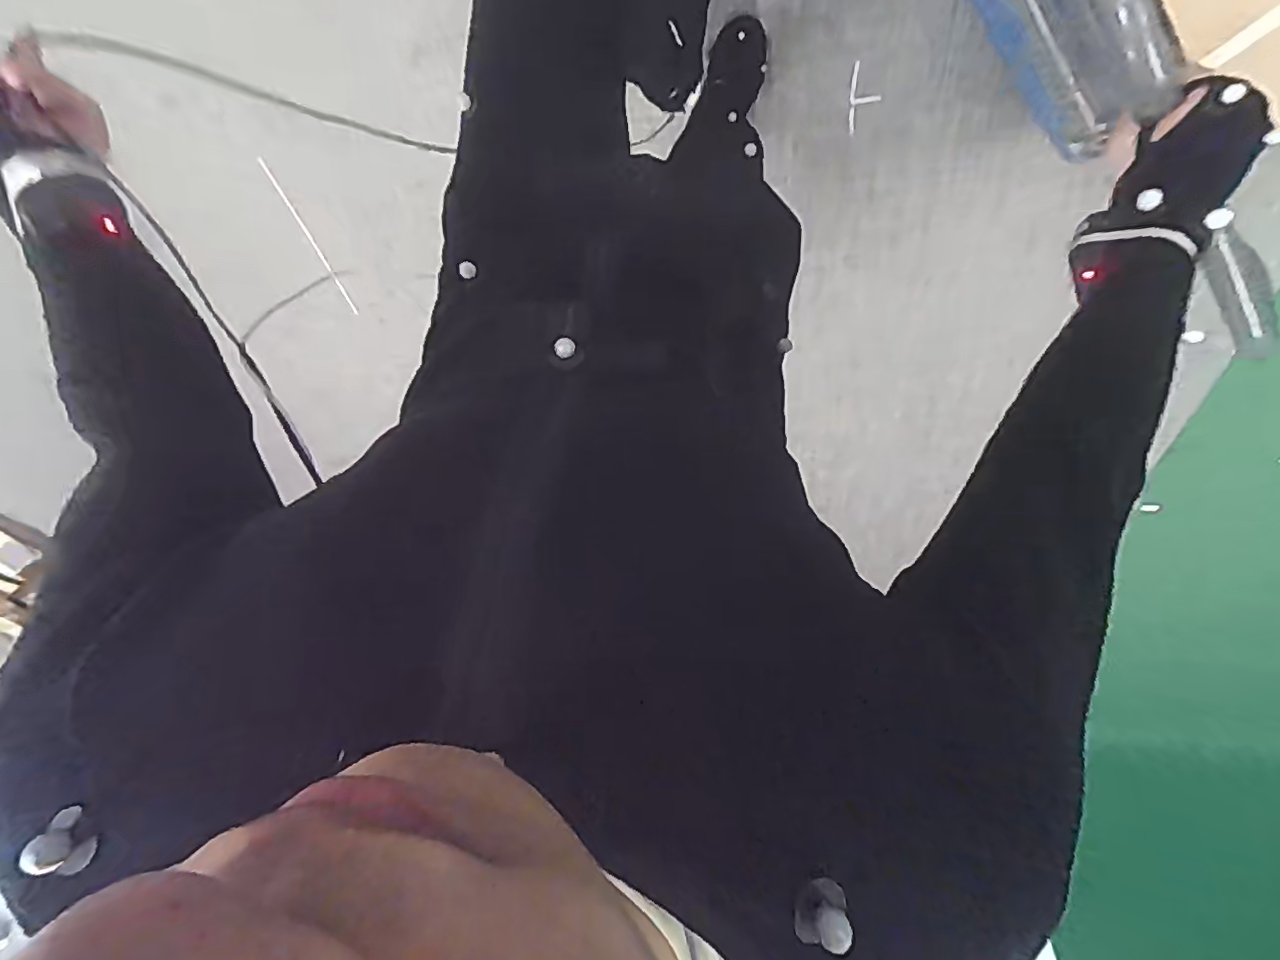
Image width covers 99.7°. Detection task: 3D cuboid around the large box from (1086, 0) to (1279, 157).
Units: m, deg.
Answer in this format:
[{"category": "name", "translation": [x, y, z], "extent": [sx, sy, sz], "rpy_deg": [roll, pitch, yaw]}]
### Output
[{"category": "large box", "translation": [0.859, -0.716, 0.662], "extent": [0.320, 0.320, 0.408], "rpy_deg": [35, 133, -24]}]
